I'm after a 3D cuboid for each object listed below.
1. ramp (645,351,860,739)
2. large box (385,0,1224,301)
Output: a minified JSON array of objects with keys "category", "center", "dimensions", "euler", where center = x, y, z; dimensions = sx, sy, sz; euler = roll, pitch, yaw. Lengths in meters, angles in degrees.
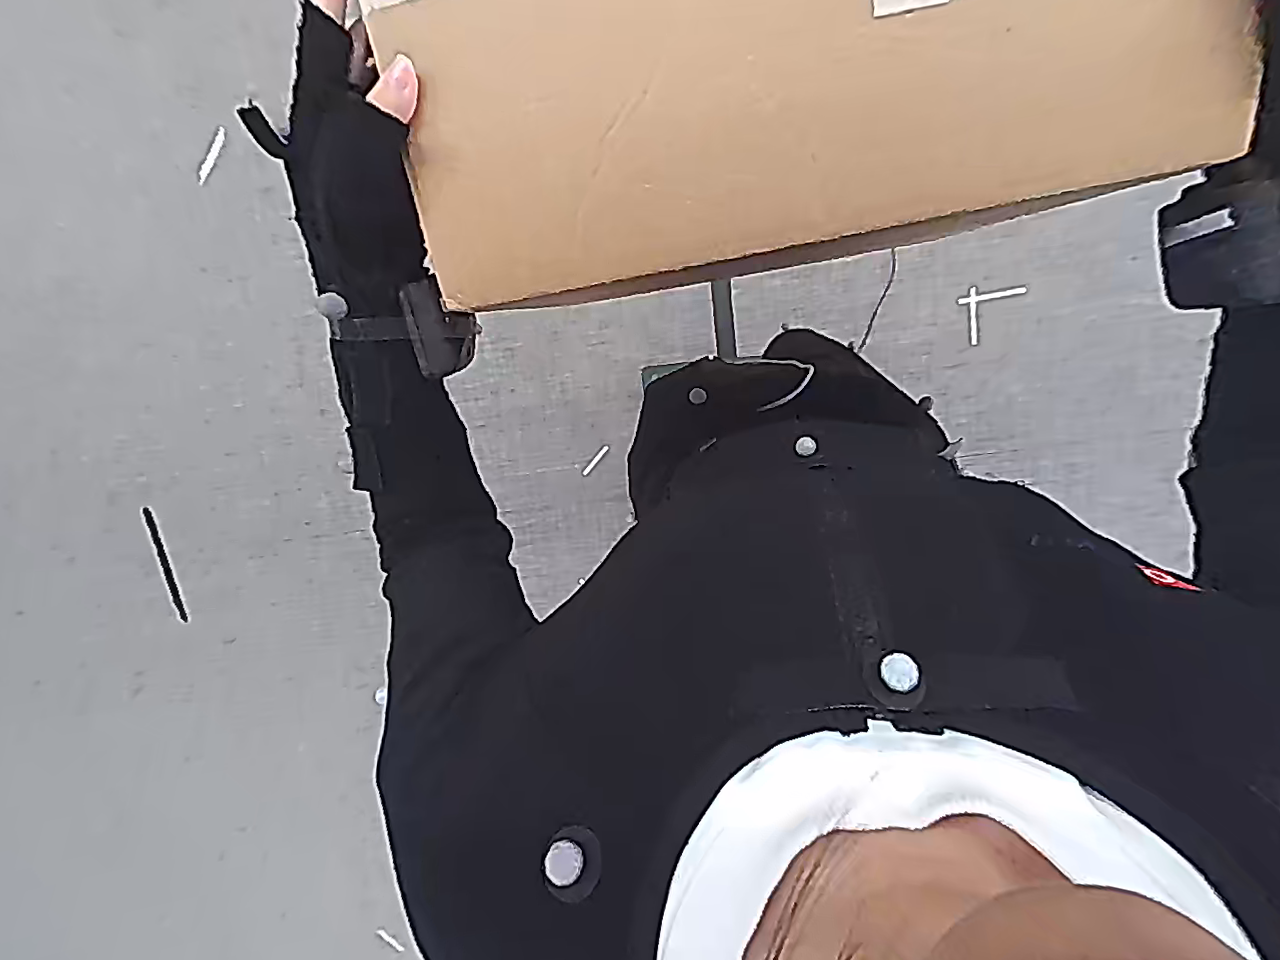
[{"category":"ramp","center":[0.287,0.183,1.423],"dimensions":[0.509,0.206,0.991],"euler":[-6,100,9]},{"category":"large box","center":[0.071,-0.328,0.393],"dimensions":[0.408,0.320,0.320],"euler":[-8,108,8]}]
